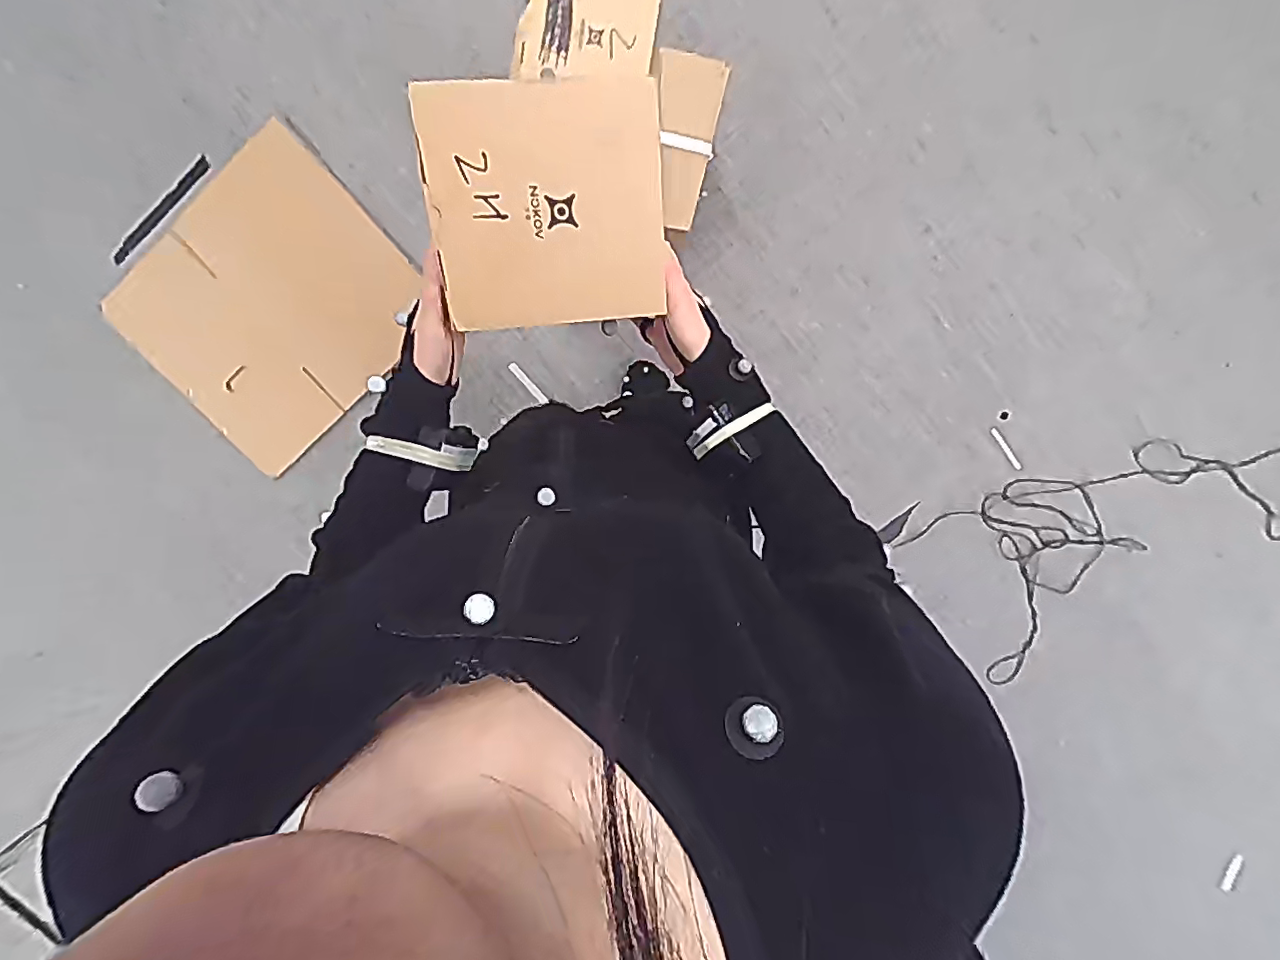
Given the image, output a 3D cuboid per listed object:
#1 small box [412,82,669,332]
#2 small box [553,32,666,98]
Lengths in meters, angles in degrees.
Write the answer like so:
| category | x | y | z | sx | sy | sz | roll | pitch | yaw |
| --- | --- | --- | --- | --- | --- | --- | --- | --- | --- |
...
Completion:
| category | x | y | z | sx | sy | sz | roll | pitch | yaw |
| --- | --- | --- | --- | --- | --- | --- | --- | --- | --- |
| small box | -0.080 | -0.230 | 0.477 | 0.179 | 0.176 | 0.168 | -7 | 112 | -8 |
| small box | -0.058 | -0.643 | 0.964 | 0.179 | 0.176 | 0.168 | 10 | 102 | -3 |
